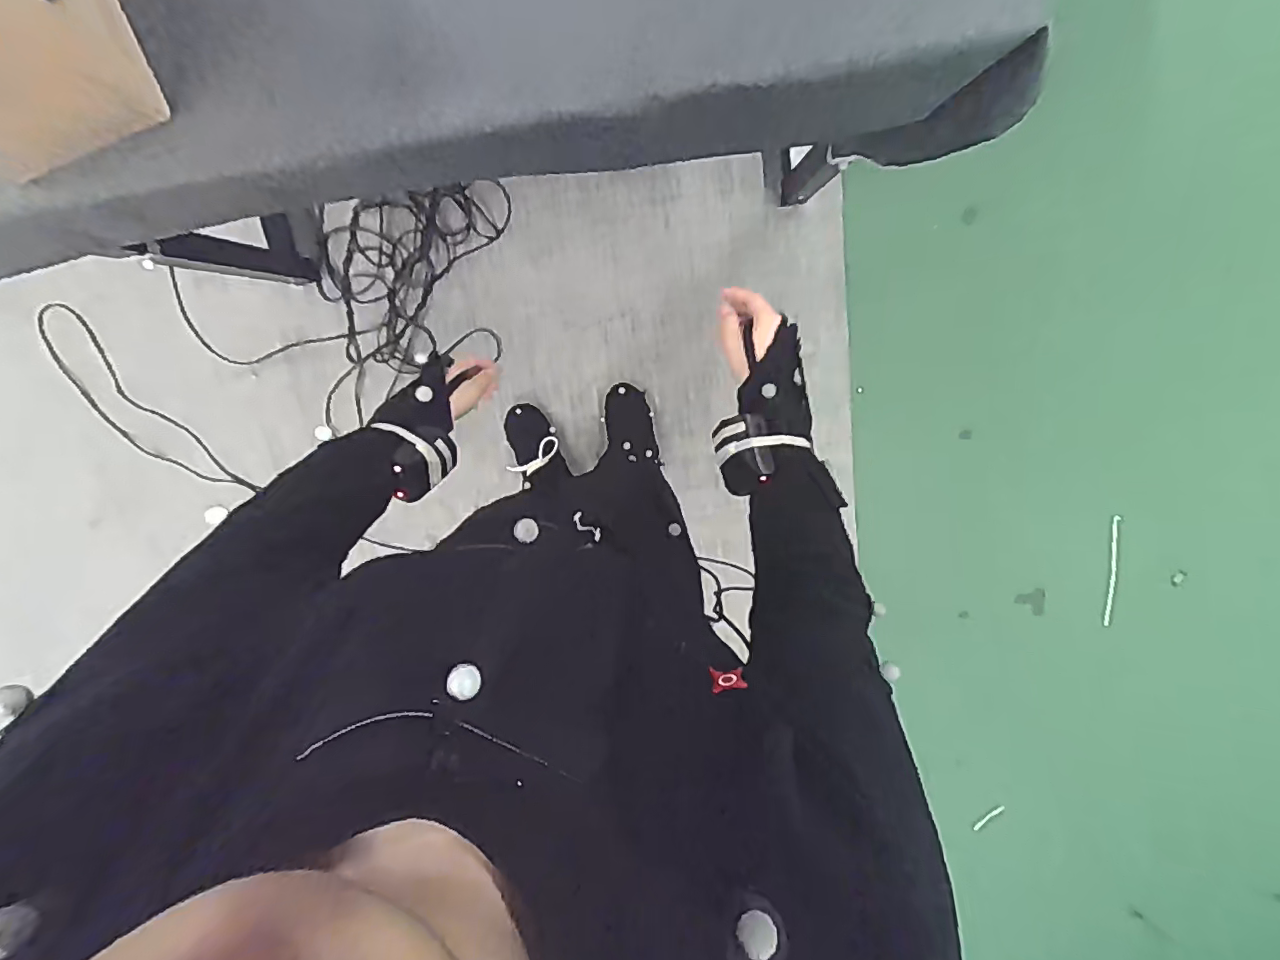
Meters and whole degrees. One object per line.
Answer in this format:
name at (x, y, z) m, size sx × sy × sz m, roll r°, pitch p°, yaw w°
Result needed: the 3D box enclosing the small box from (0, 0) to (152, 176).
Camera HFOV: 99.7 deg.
small box at (-0.553, -0.376, 0.430) m, size 0.179 × 0.176 × 0.168 m, roll -18°, pitch 102°, yaw 5°
